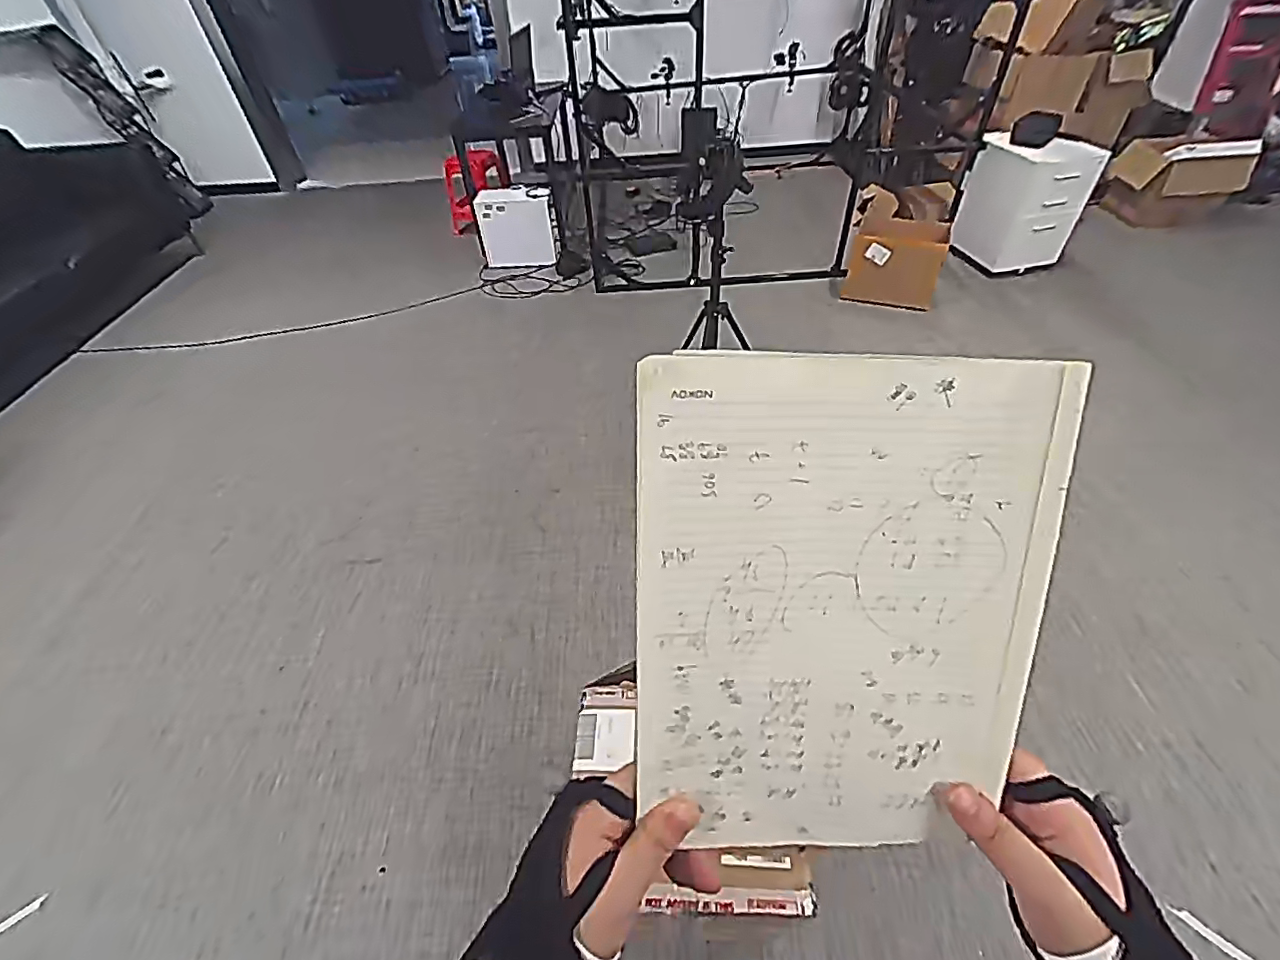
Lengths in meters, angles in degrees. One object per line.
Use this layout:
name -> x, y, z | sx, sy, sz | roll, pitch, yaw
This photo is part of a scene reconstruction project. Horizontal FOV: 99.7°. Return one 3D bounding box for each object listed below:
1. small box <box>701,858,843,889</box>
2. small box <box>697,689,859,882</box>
small box -> 0.184, 0.508, 0.822 | 0.179, 0.176, 0.168 | 0, 46, 2
small box -> 0.163, 0.396, 0.702 | 0.168, 0.176, 0.179 | 4, 48, 4
